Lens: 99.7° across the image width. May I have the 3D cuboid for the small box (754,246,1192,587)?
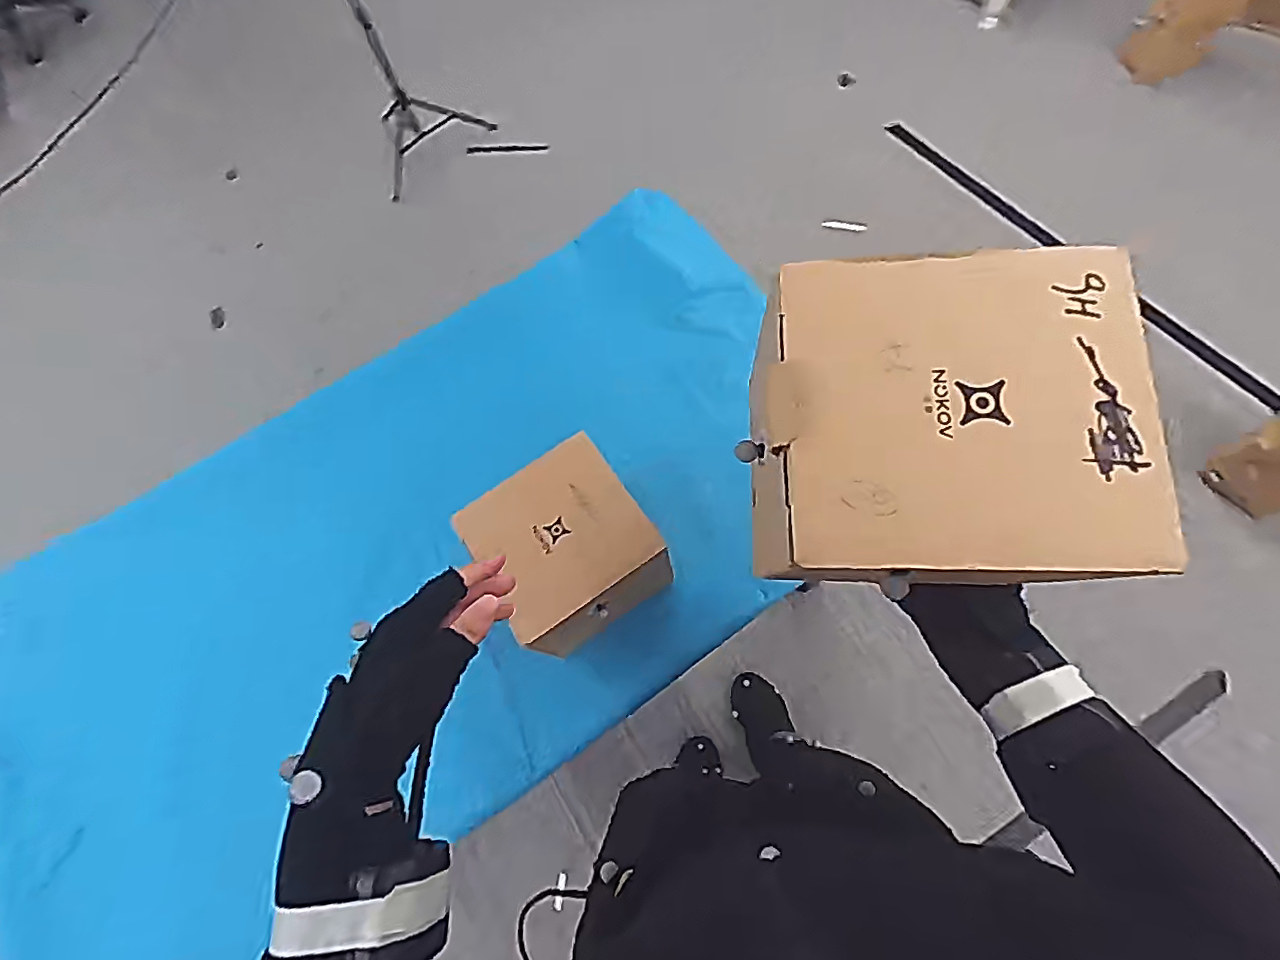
[{"bbox_3d":[0.167,-0.018,0.343,0.179,0.176,0.168,-2,77,6],"label":"small box"}]

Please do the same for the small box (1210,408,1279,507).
[{"bbox_3d":[1.500,-0.064,1.249,0.179,0.176,0.168,-35,69,-7],"label":"small box"}]

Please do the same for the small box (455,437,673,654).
[{"bbox_3d":[-0.077,0.087,0.637,0.179,0.176,0.168,-35,69,-6],"label":"small box"}]
